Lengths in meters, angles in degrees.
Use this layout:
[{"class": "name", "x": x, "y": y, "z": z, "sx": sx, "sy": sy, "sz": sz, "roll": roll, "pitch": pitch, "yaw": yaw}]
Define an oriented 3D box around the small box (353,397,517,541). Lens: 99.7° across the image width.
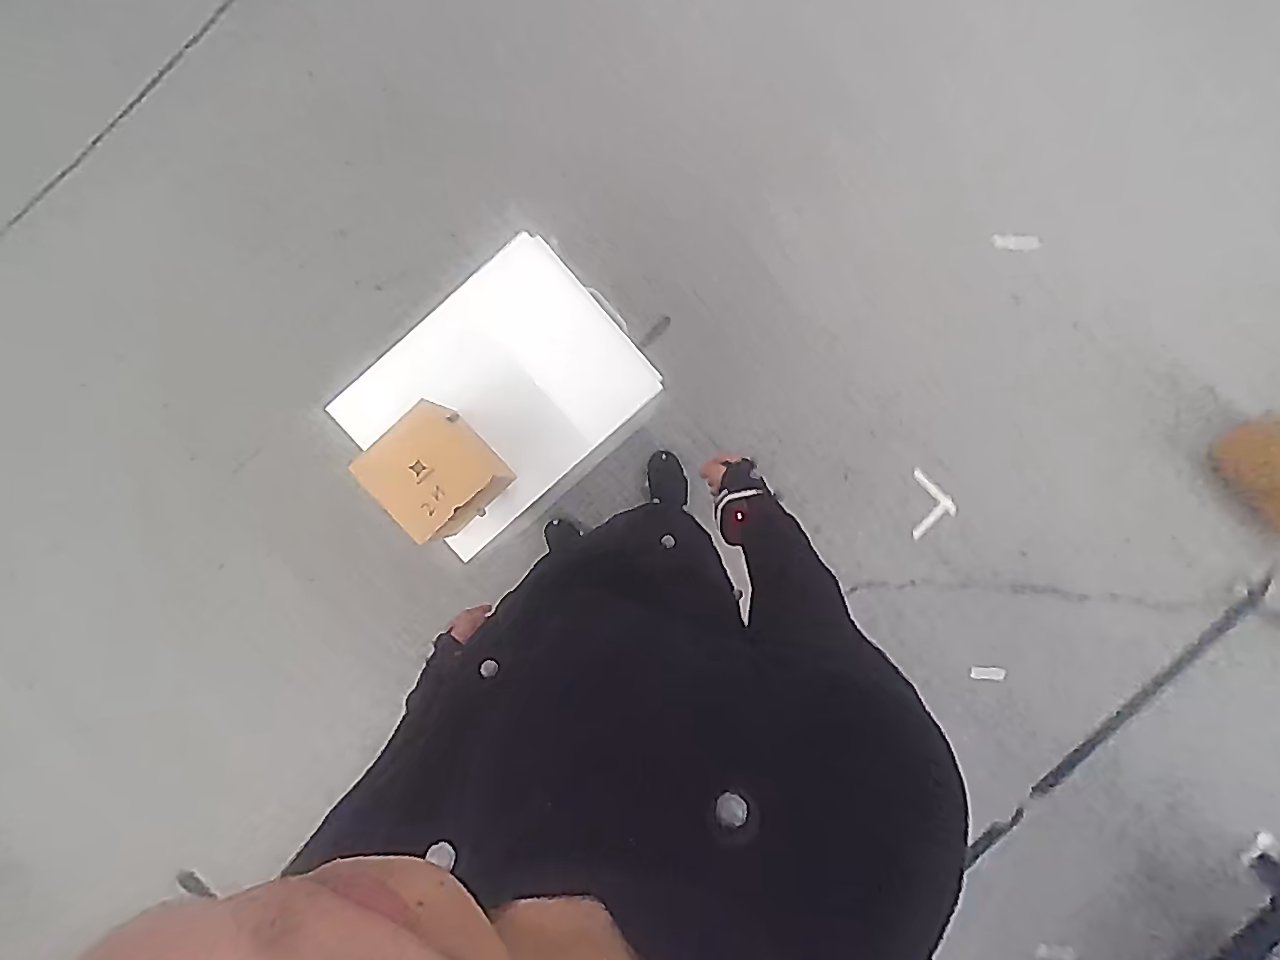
[{"class": "small box", "x": -0.344, "y": -0.018, "z": 0.943, "sx": 0.168, "sy": 0.176, "sz": 0.179, "roll": -43, "pitch": 91, "yaw": 1}]
